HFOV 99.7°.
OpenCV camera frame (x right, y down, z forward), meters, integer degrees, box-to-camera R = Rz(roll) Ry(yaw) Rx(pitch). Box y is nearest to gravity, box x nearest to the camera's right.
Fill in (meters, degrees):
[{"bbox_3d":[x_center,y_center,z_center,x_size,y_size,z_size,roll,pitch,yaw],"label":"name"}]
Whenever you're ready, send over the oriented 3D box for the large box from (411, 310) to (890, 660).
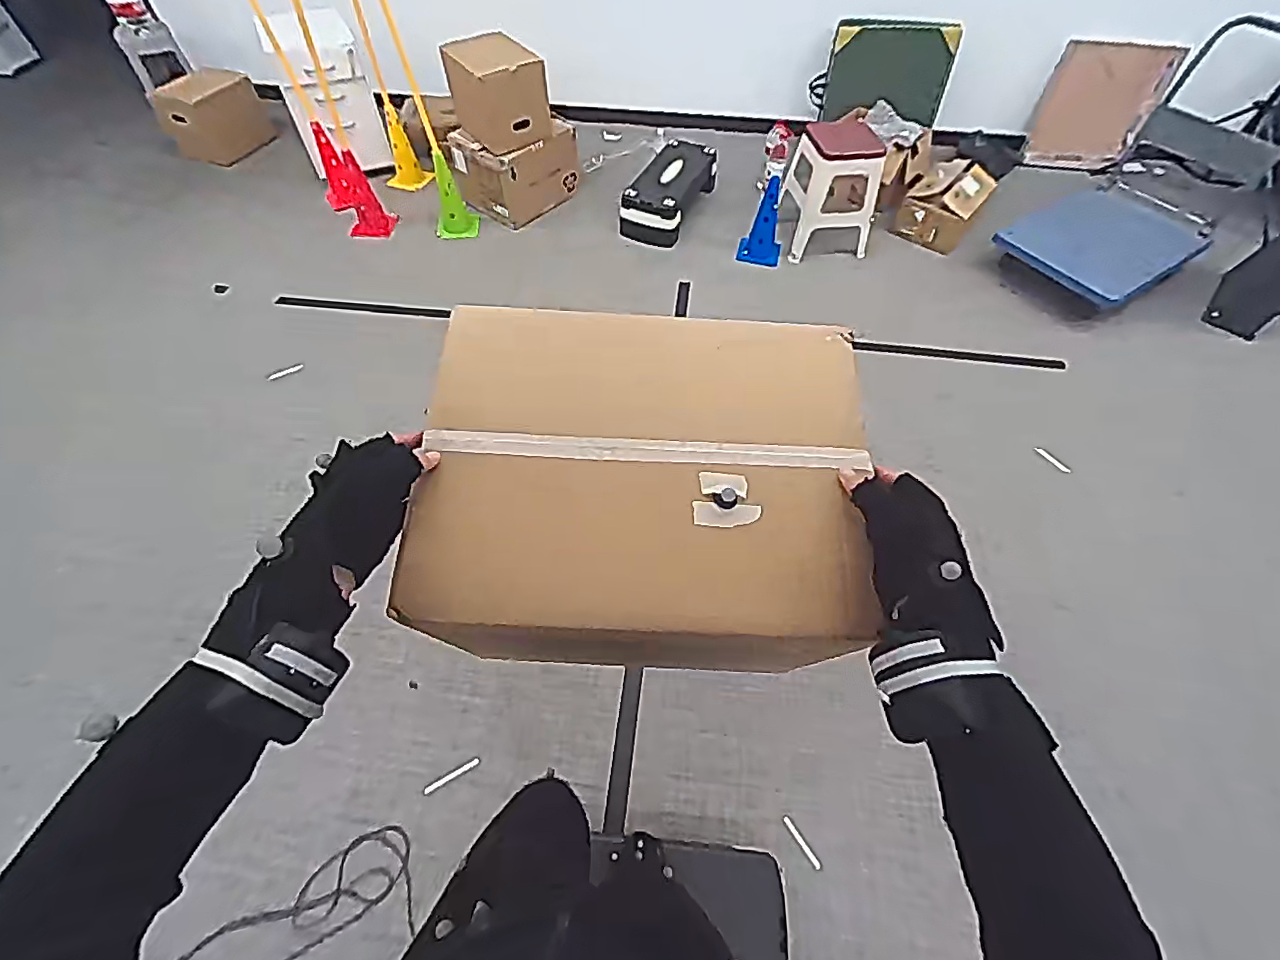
[{"bbox_3d":[0.006,0.032,0.635,0.408,0.320,0.320,3,67,-2],"label":"large box"}]
